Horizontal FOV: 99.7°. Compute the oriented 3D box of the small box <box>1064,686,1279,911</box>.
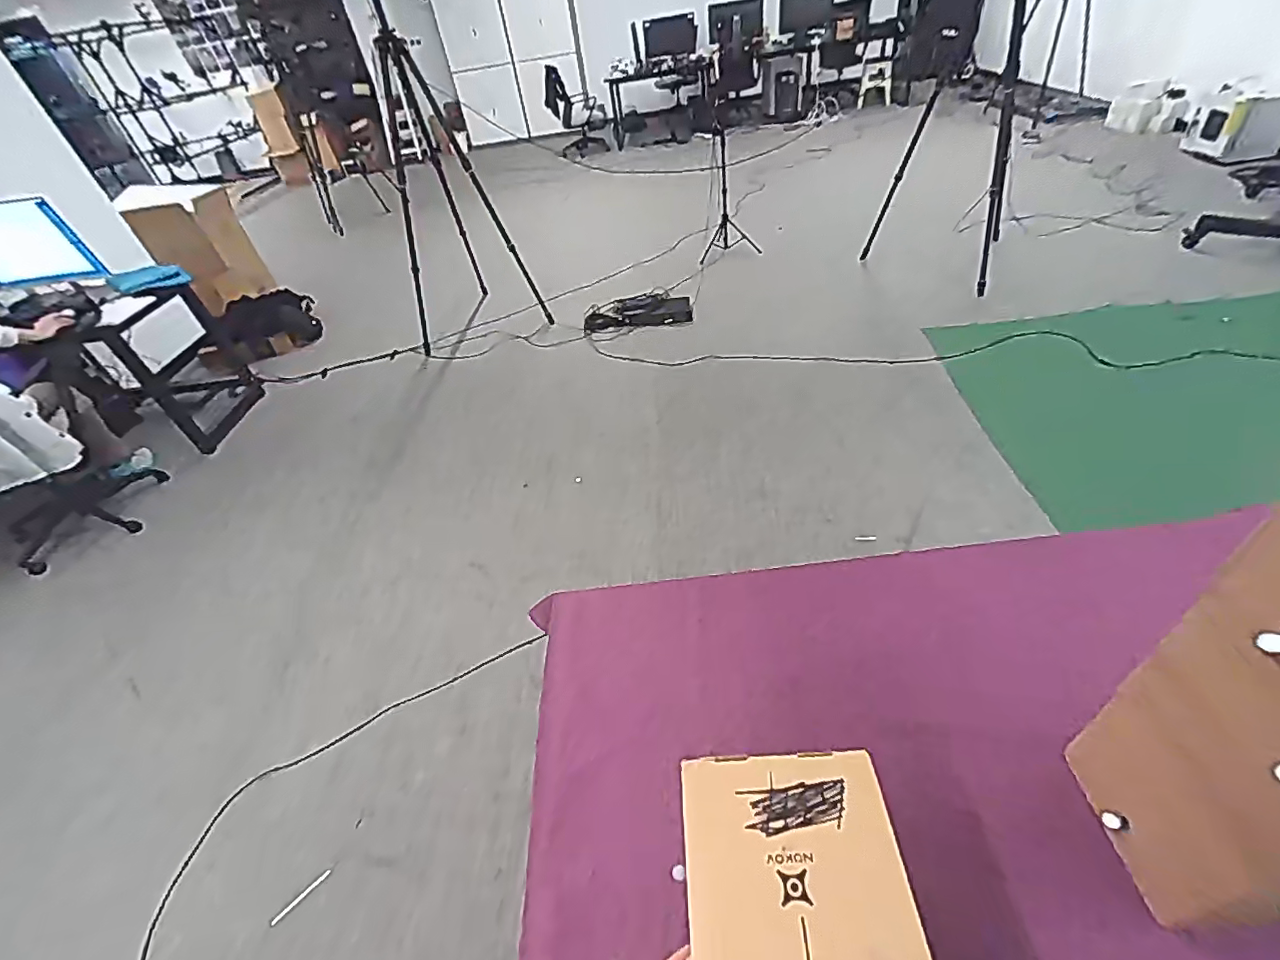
[{"bbox_3d":[0.600,0.328,0.562,0.168,0.176,0.179,-6,43,5],"label":"small box"}]

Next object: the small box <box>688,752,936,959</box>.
[{"bbox_3d":[0.131,0.359,0.462,0.168,0.176,0.179,-6,42,5],"label":"small box"}]
